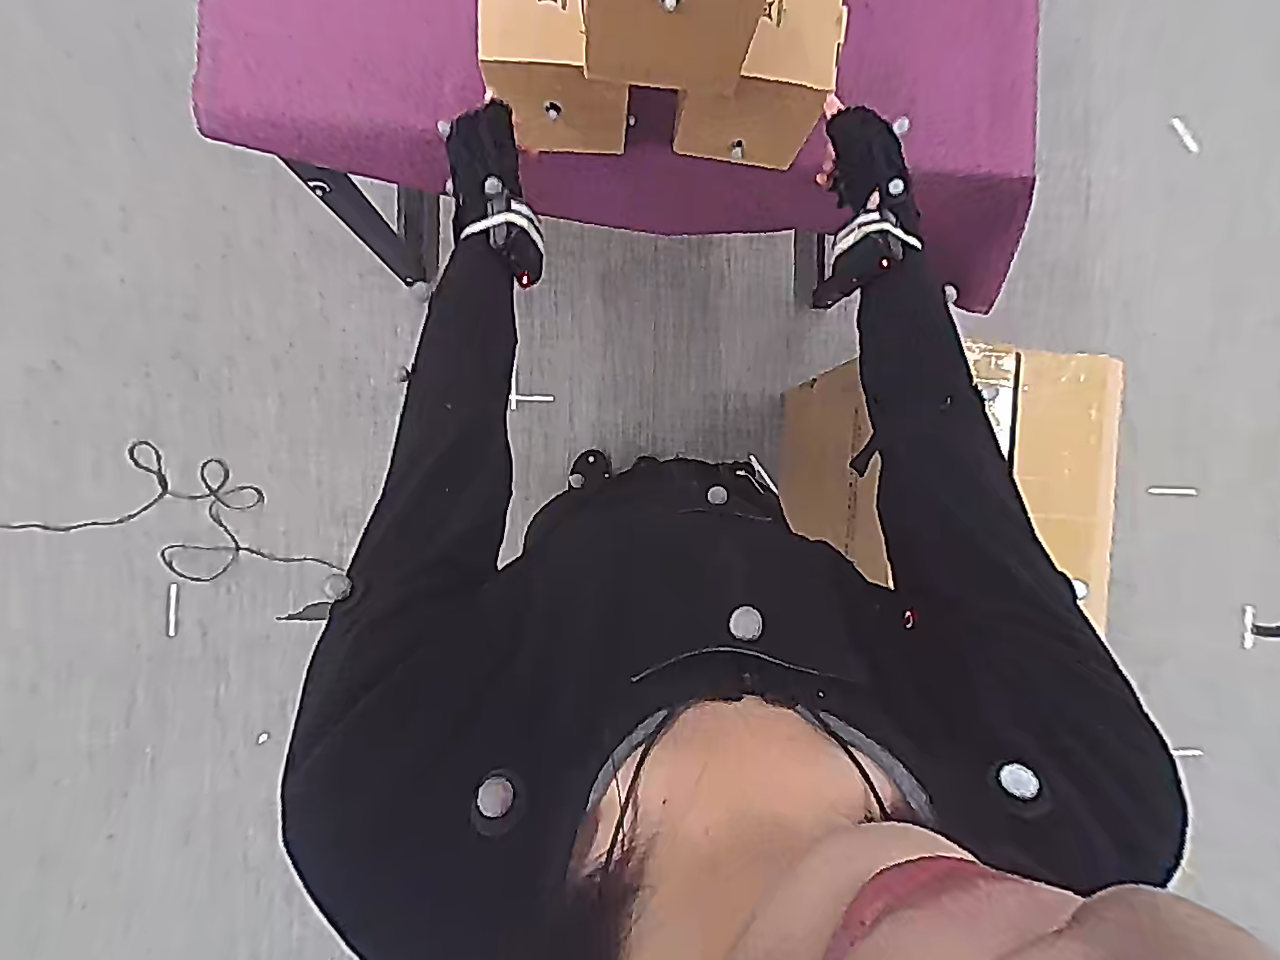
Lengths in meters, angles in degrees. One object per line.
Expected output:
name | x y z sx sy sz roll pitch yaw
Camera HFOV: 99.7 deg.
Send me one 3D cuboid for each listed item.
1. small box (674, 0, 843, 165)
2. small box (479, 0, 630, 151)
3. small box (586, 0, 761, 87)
small box | 0.149 -0.553 0.720 0.179 0.176 0.168 6 89 -4
small box | -0.101 -0.556 0.698 0.179 0.176 0.168 0 89 -3
small box | 0.036 -0.539 0.546 0.179 0.176 0.168 3 91 -5
